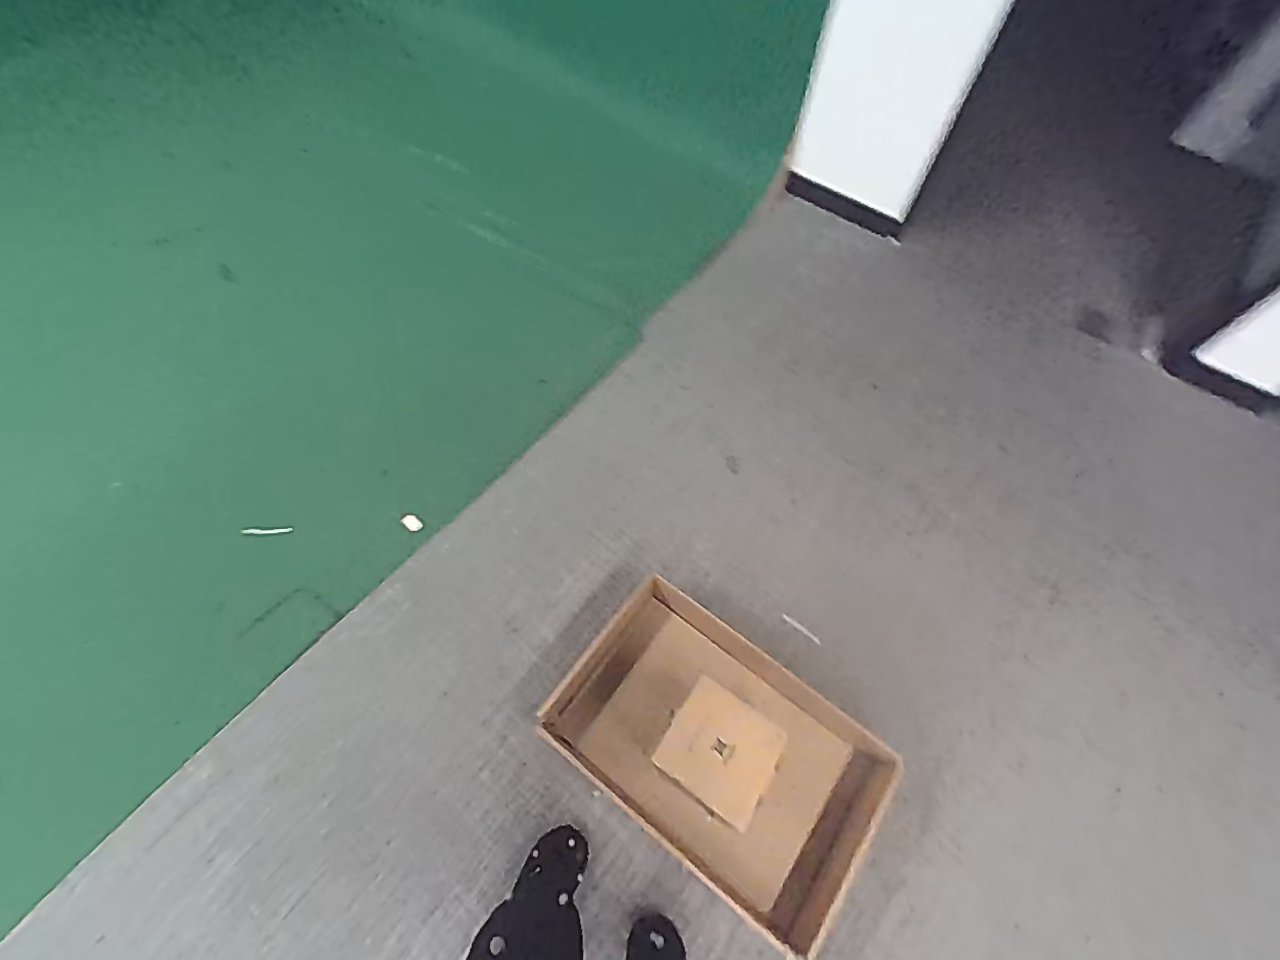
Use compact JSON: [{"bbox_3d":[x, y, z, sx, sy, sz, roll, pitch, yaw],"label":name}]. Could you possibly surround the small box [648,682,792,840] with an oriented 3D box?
[{"bbox_3d":[0.129,0.477,0.932,0.179,0.176,0.168,29,64,12],"label":"small box"}]
